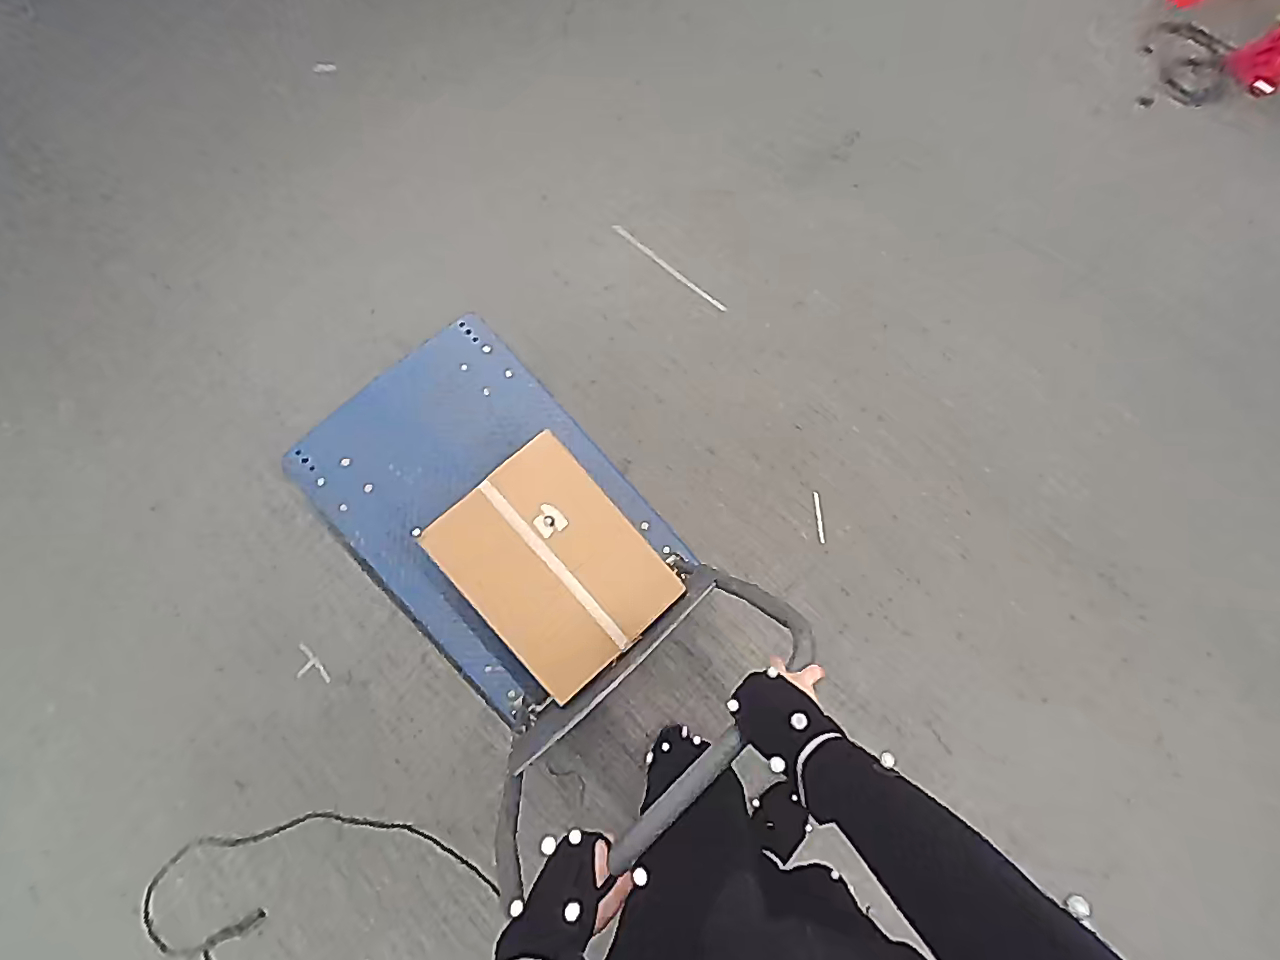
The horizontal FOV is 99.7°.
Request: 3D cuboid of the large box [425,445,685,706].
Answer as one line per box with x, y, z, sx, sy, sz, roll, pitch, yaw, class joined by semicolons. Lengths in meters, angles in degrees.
-0.166;0.190;1.161;0.320;0.320;0.408;-42;89;-9;large box
